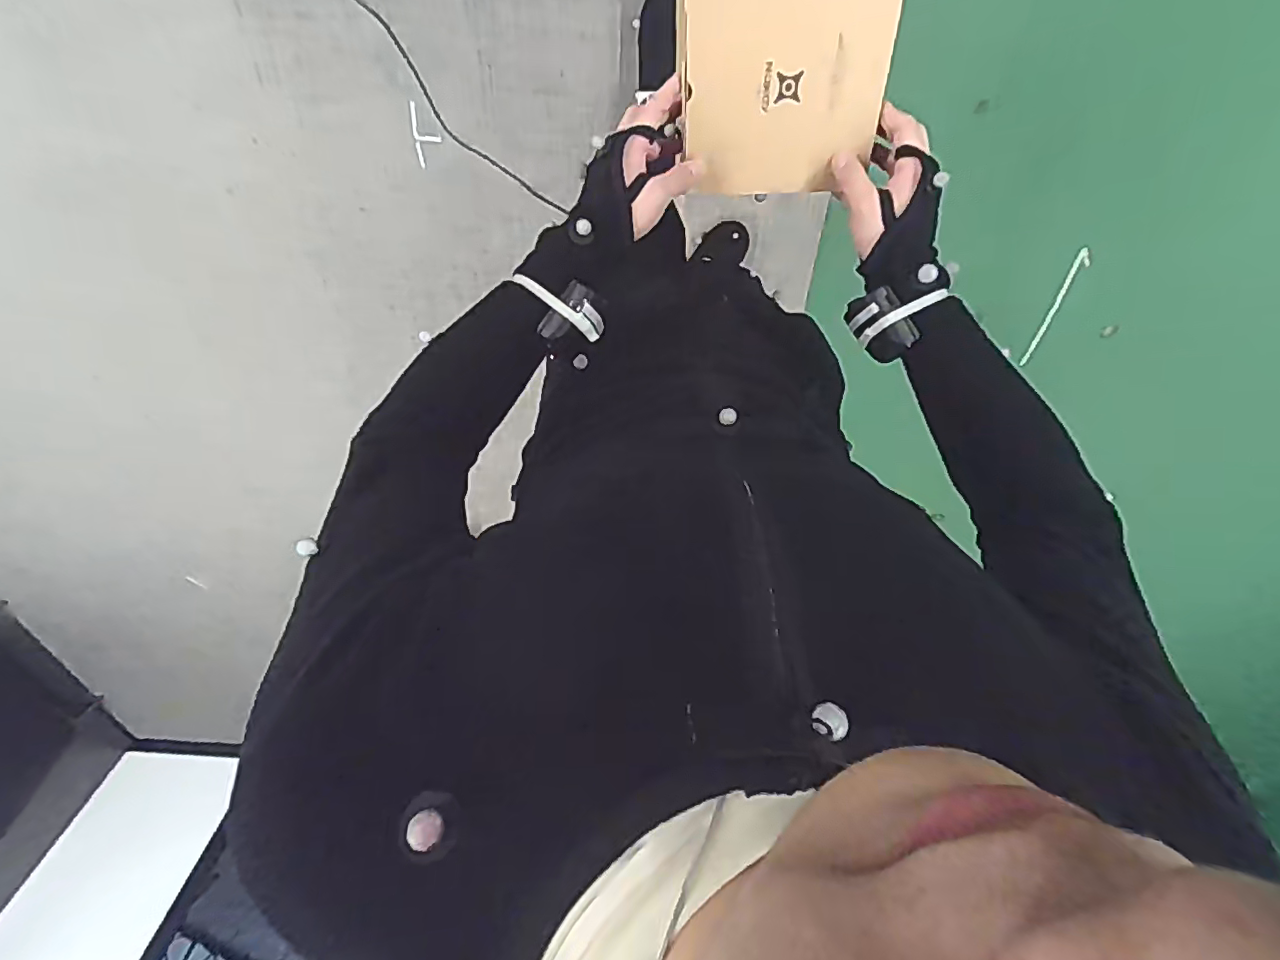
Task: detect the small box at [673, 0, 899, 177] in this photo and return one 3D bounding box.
[{"bbox_3d":[0.122,-0.399,0.521,0.179,0.176,0.168,0,129,1],"label":"small box"}]
